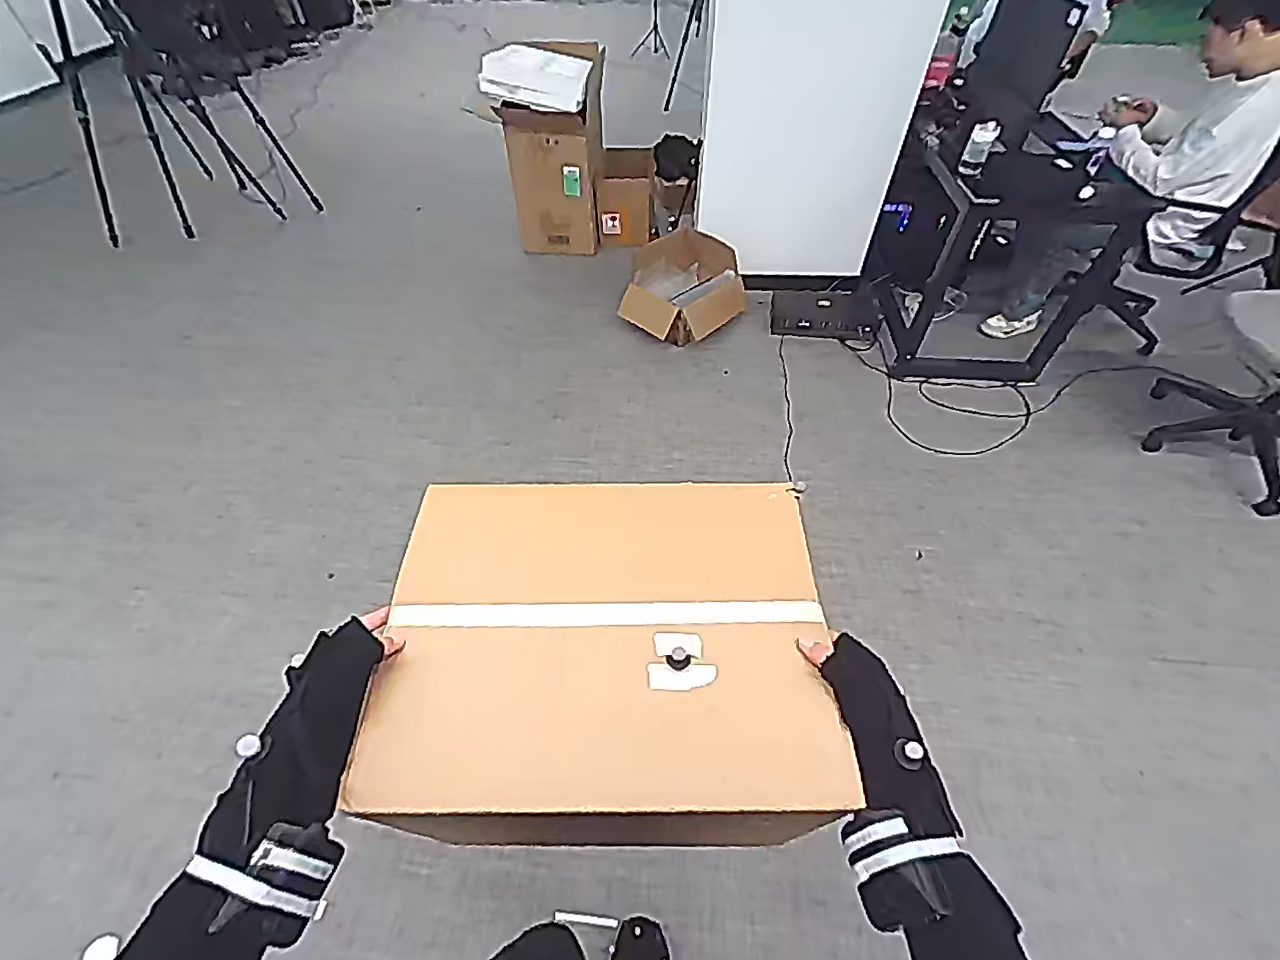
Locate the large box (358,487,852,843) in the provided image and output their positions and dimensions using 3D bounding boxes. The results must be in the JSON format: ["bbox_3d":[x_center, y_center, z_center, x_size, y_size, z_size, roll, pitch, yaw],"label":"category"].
[{"bbox_3d":[-0.030,0.222,0.636,0.408,0.320,0.320,0,52,0],"label":"large box"}]
